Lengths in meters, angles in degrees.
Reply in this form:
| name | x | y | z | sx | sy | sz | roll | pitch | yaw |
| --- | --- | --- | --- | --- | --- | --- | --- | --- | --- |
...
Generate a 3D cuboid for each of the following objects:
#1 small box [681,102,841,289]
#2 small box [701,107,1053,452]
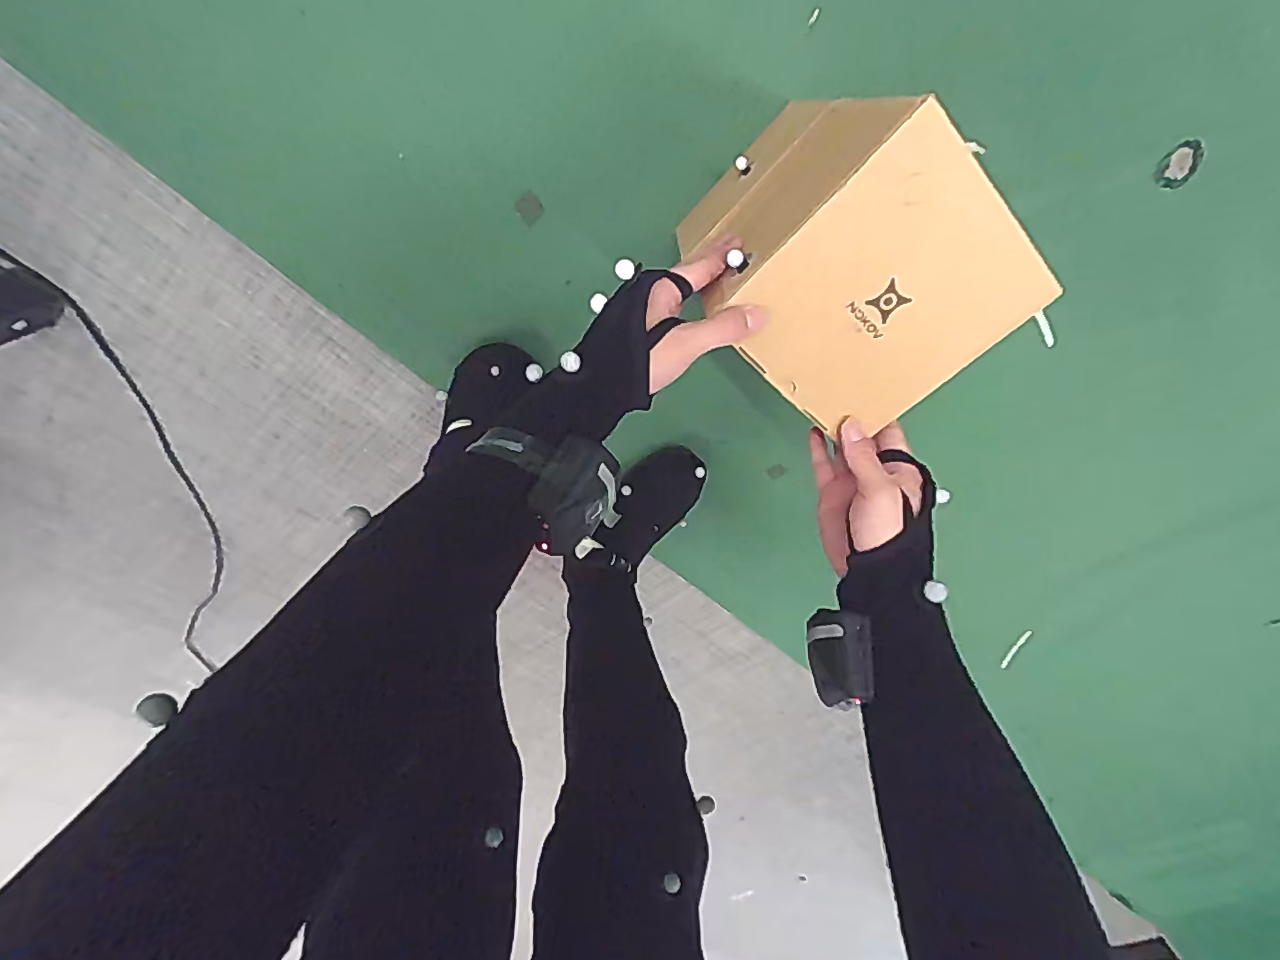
| name | x | y | z | sx | sy | sz | roll | pitch | yaw |
| --- | --- | --- | --- | --- | --- | --- | --- | --- | --- |
| small box | 0.158 | -0.256 | 0.570 | 0.168 | 0.176 | 0.179 | 38 | 117 | -23 |
| small box | 0.165 | -0.164 | 0.436 | 0.168 | 0.176 | 0.179 | 36 | 119 | -23 |
